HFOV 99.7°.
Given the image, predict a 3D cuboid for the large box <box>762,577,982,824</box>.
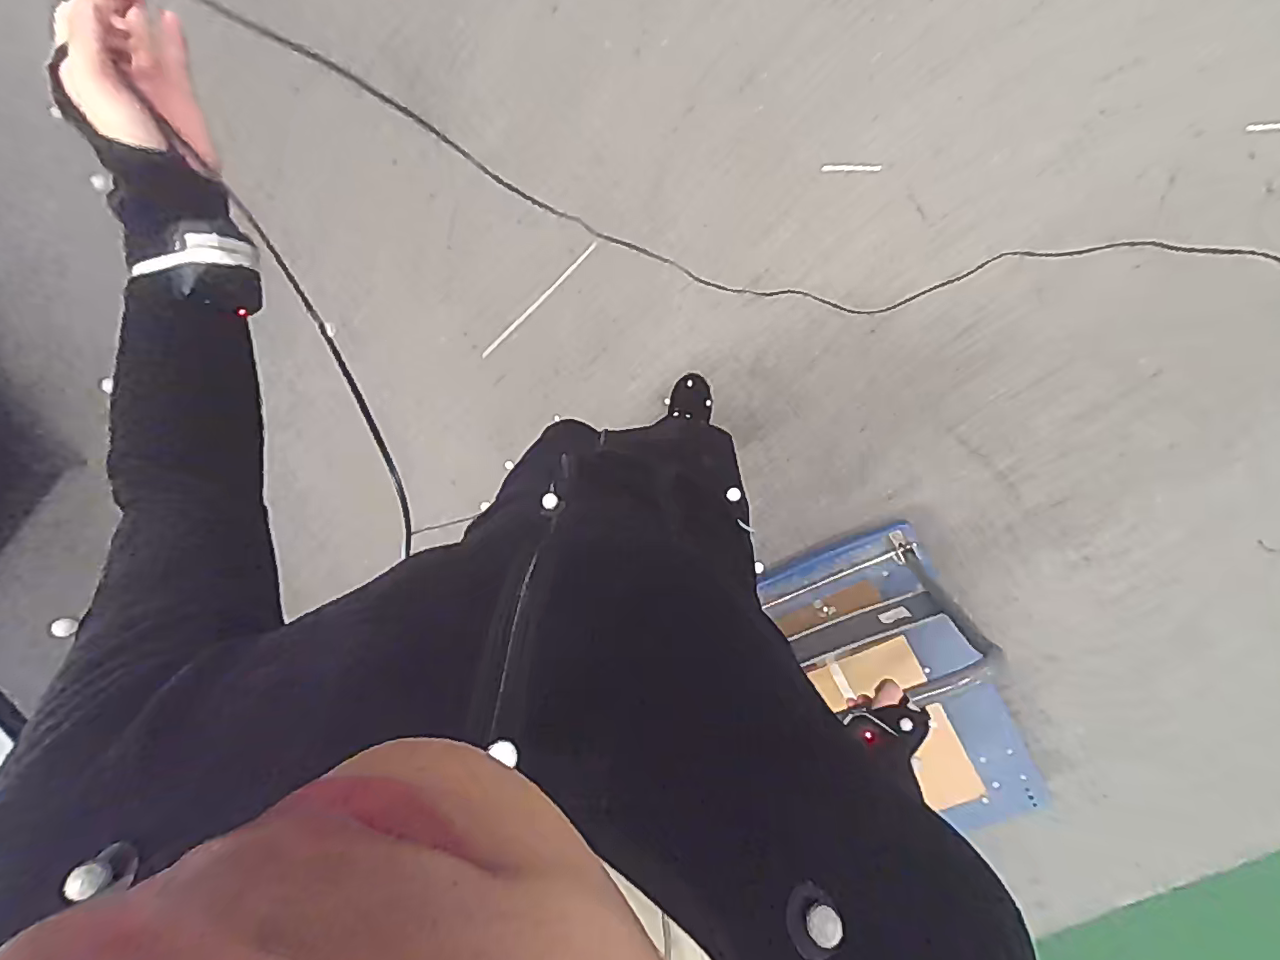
[{"bbox_3d":[0.531,0.516,1.320,0.320,0.320,0.408,-28,95,16],"label":"large box"}]
